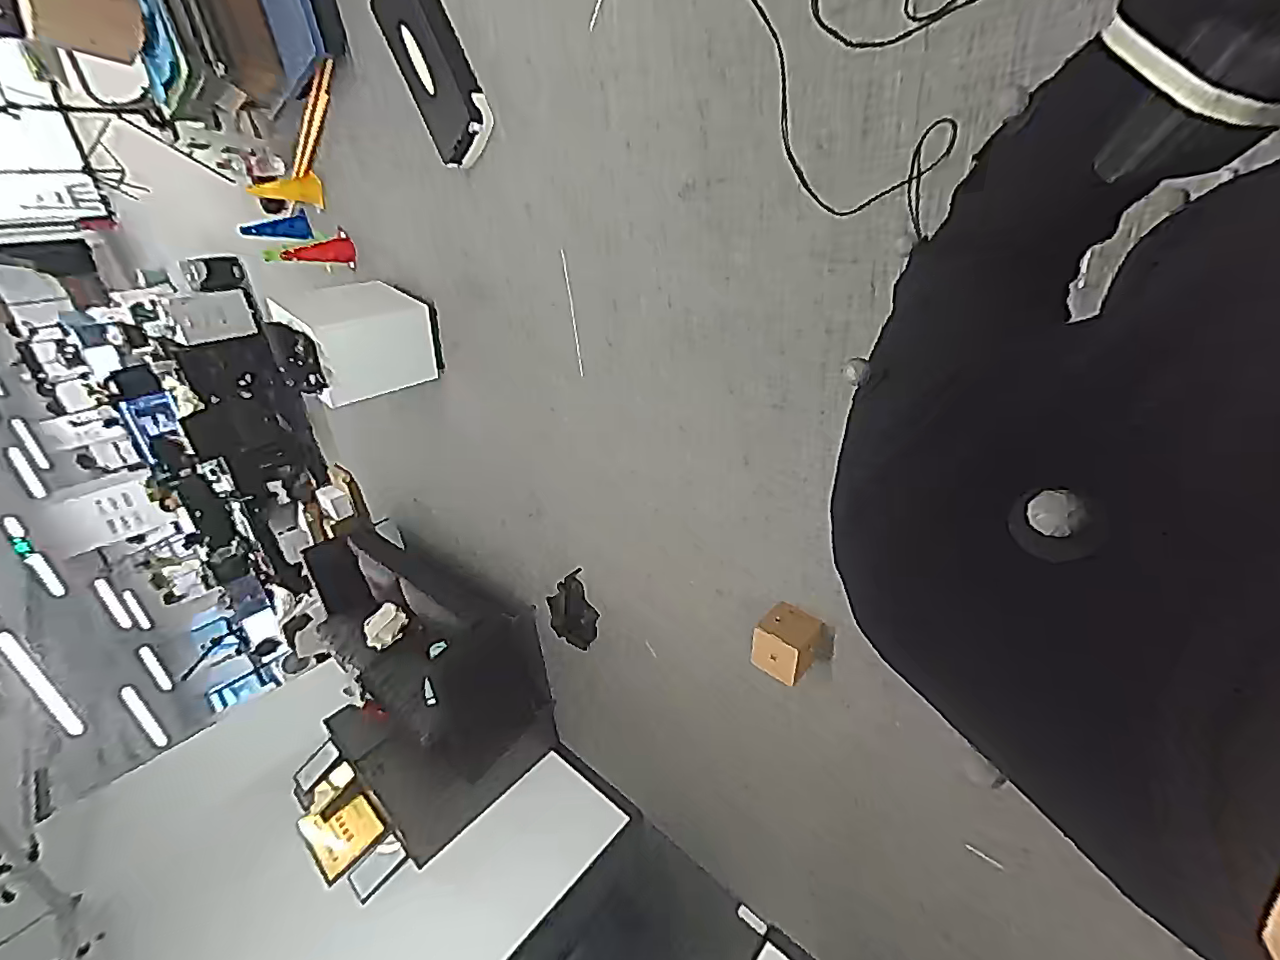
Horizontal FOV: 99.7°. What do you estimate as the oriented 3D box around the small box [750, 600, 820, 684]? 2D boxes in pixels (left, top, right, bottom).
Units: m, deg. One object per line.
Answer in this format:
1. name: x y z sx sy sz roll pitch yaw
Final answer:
1. small box: 0.492 0.539 1.827 0.168 0.176 0.179 24 129 38
